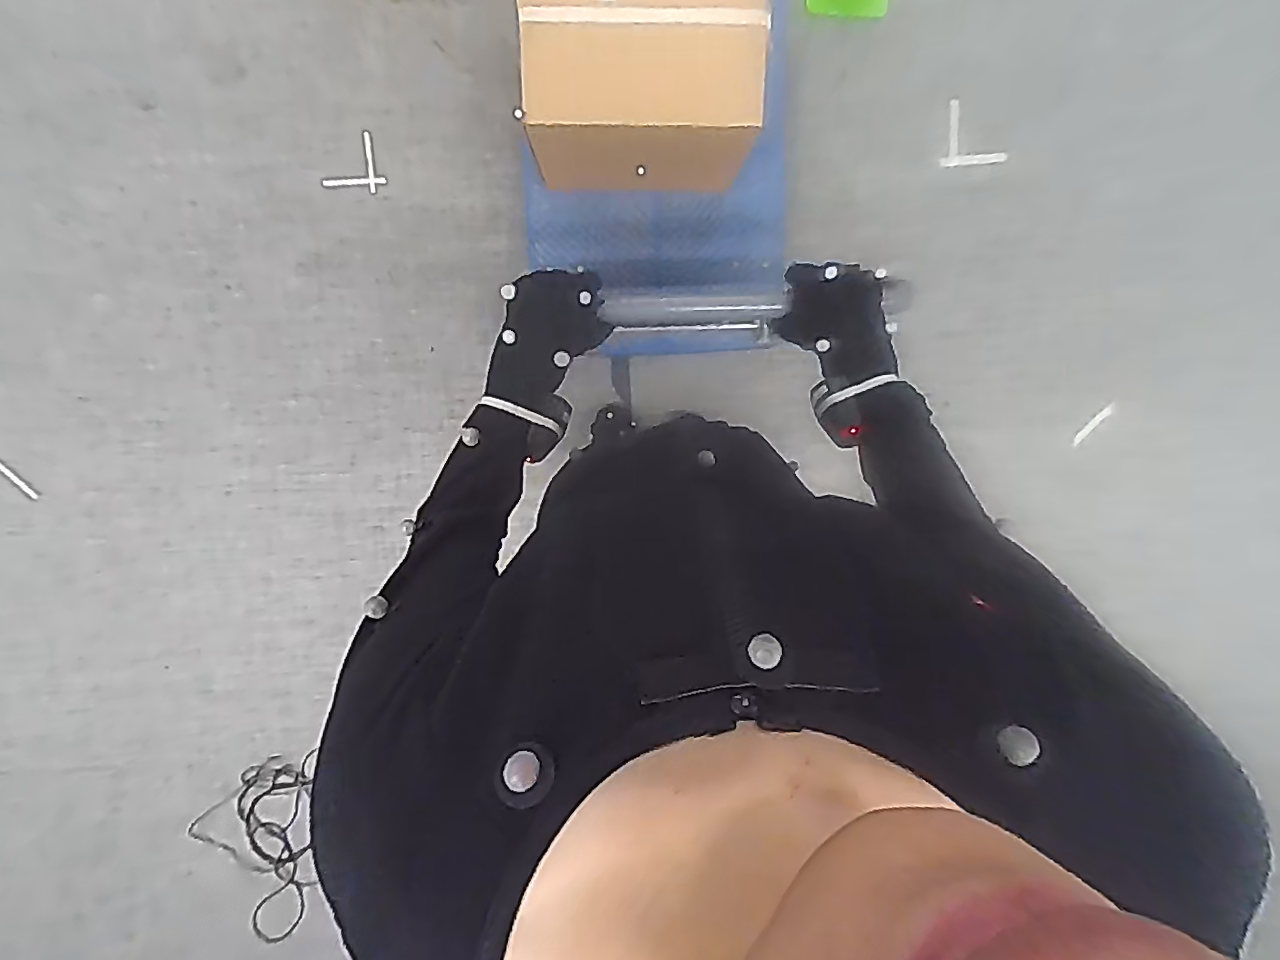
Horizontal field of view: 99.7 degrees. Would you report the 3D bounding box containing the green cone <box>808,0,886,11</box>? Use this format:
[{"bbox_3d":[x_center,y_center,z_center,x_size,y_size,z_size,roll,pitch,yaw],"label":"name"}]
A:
[{"bbox_3d":[0.507,-1.206,1.119,0.202,0.368,0.200,1,99,-3],"label":"green cone"}]

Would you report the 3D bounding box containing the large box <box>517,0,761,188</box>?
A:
[{"bbox_3d":[-0.001,-0.771,1.029,0.408,0.320,0.320,-1,100,-1],"label":"large box"}]
